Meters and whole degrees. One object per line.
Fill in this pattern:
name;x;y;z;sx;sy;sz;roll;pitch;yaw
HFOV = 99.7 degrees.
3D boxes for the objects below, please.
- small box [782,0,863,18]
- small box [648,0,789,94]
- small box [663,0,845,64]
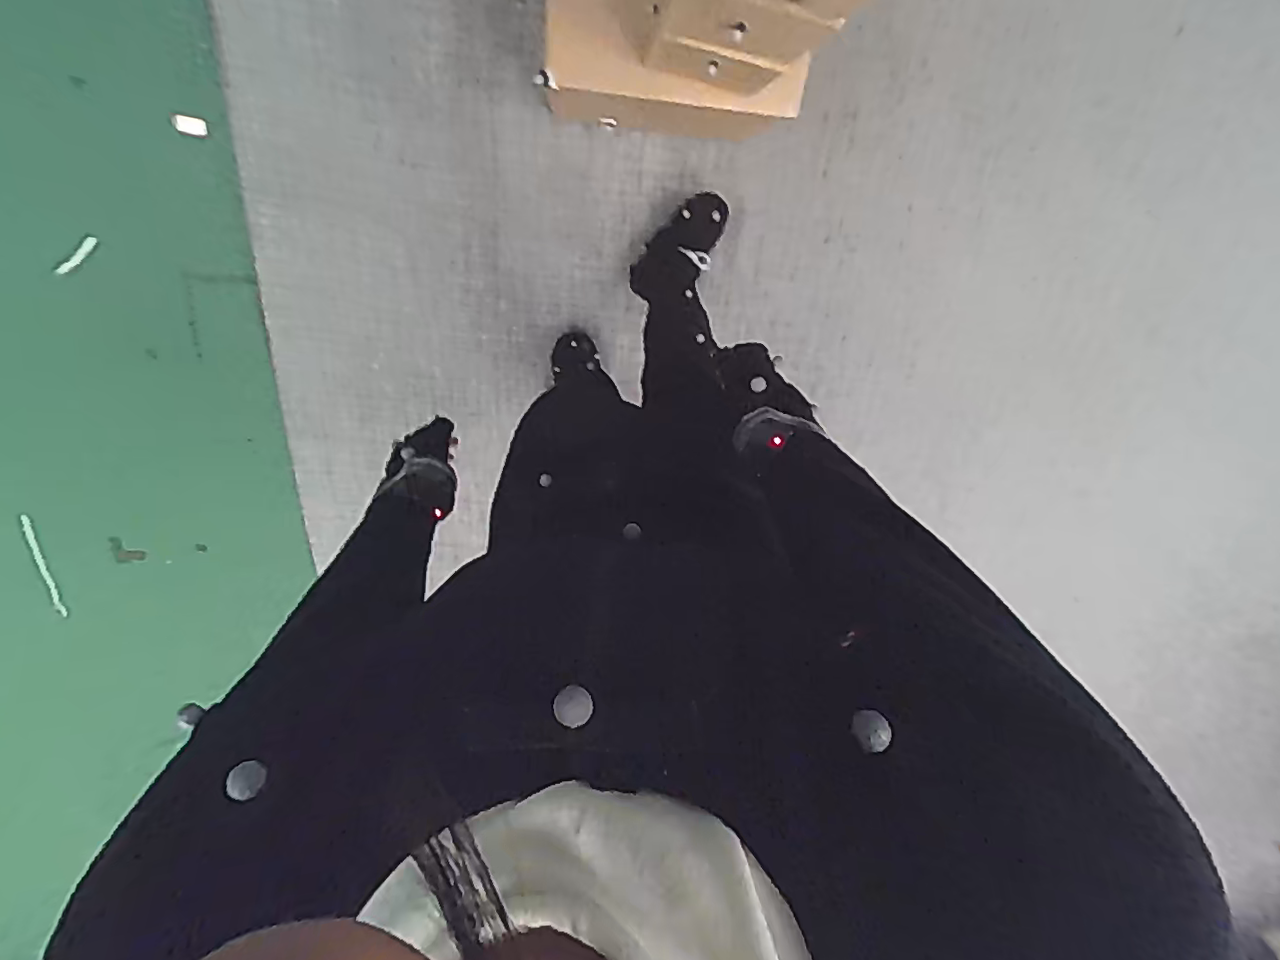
small box;0.151;-0.517;0.435;0.168;0.176;0.179;8;116;-9
small box;0.115;-0.650;0.733;0.179;0.176;0.168;7;116;-11
small box;0.132;-0.581;0.585;0.179;0.176;0.168;8;115;-8
